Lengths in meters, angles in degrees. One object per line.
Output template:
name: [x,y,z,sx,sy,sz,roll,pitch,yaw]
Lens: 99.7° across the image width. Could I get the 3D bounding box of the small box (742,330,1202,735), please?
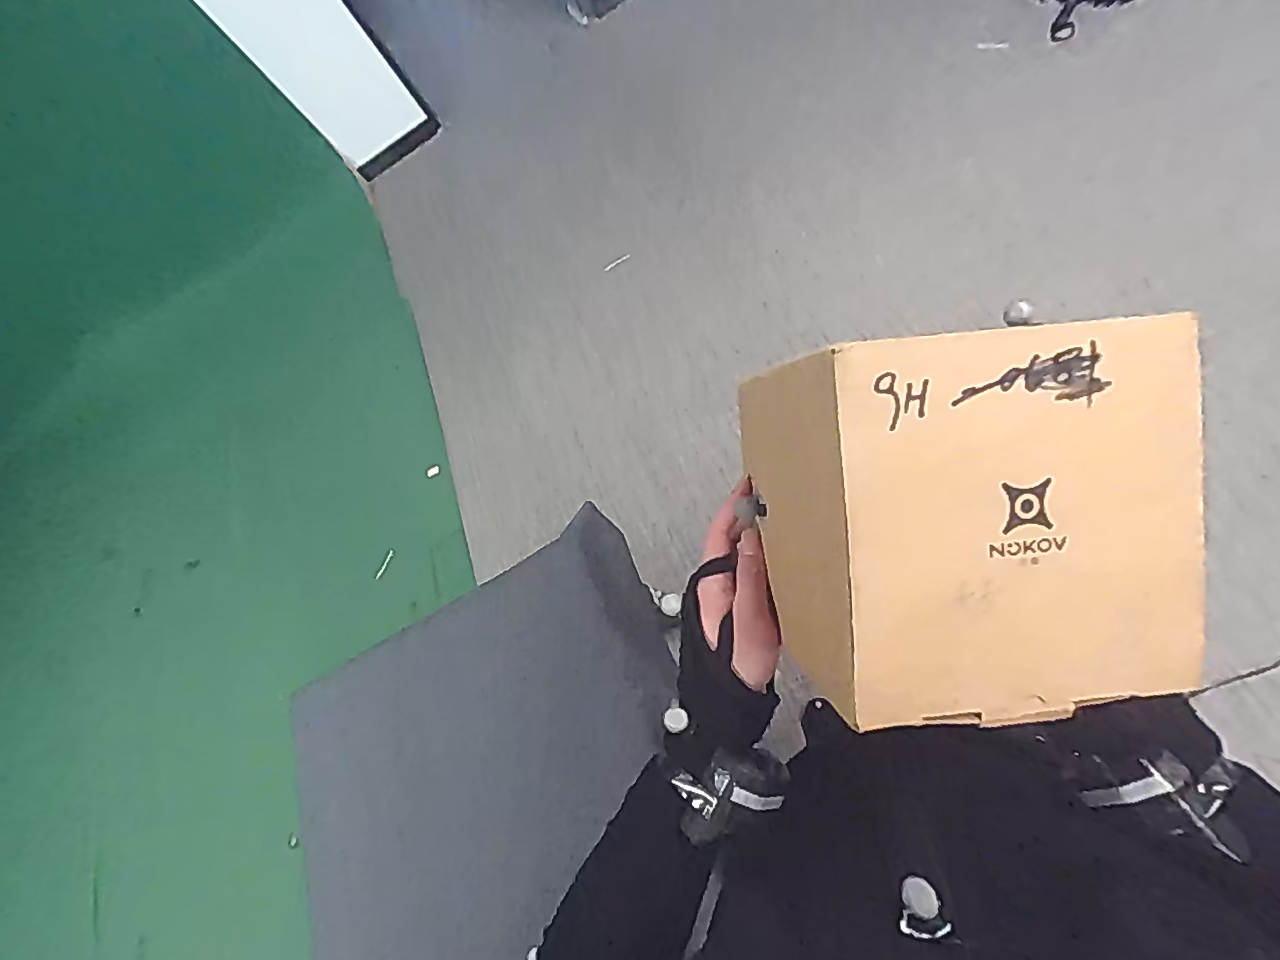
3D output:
small box: [0.165,0.017,0.322,0.168,0.176,0.179,-6,96,-4]
